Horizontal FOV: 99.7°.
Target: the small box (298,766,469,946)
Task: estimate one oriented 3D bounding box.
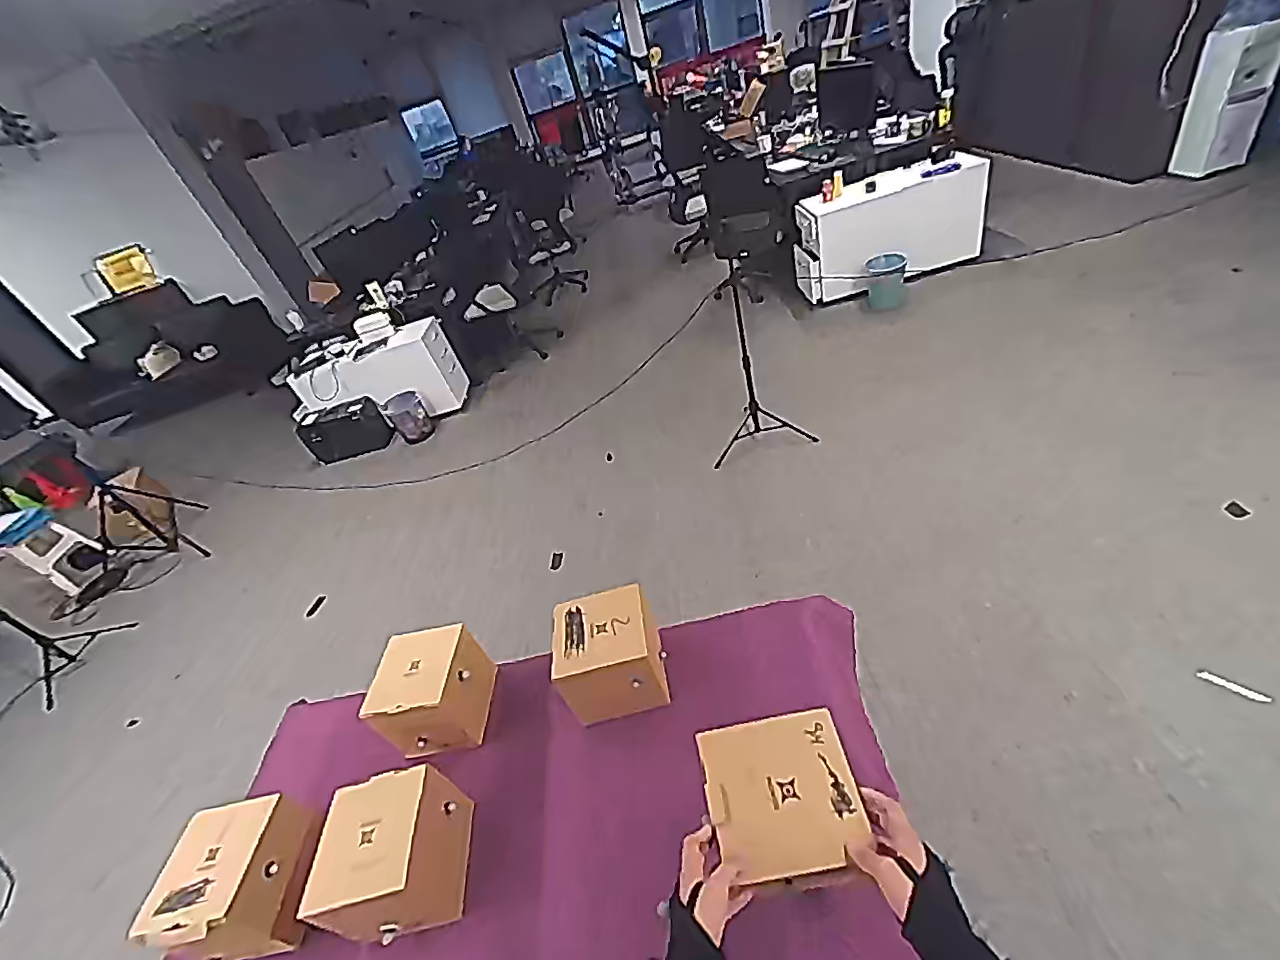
[{"bbox_3d":[-0.390,0.598,0.864,0.168,0.176,0.179,-18,37,4],"label":"small box"}]

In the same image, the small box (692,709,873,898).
[{"bbox_3d":[0.176,0.421,0.697,0.179,0.176,0.168,-13,48,3],"label":"small box"}]

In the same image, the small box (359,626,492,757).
[{"bbox_3d":[-0.415,0.425,1.085,0.168,0.176,0.179,-12,38,9],"label":"small box"}]

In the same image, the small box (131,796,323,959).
[{"bbox_3d":[-0.655,0.664,0.897,0.168,0.176,0.179,-15,36,6],"label":"small box"}]
